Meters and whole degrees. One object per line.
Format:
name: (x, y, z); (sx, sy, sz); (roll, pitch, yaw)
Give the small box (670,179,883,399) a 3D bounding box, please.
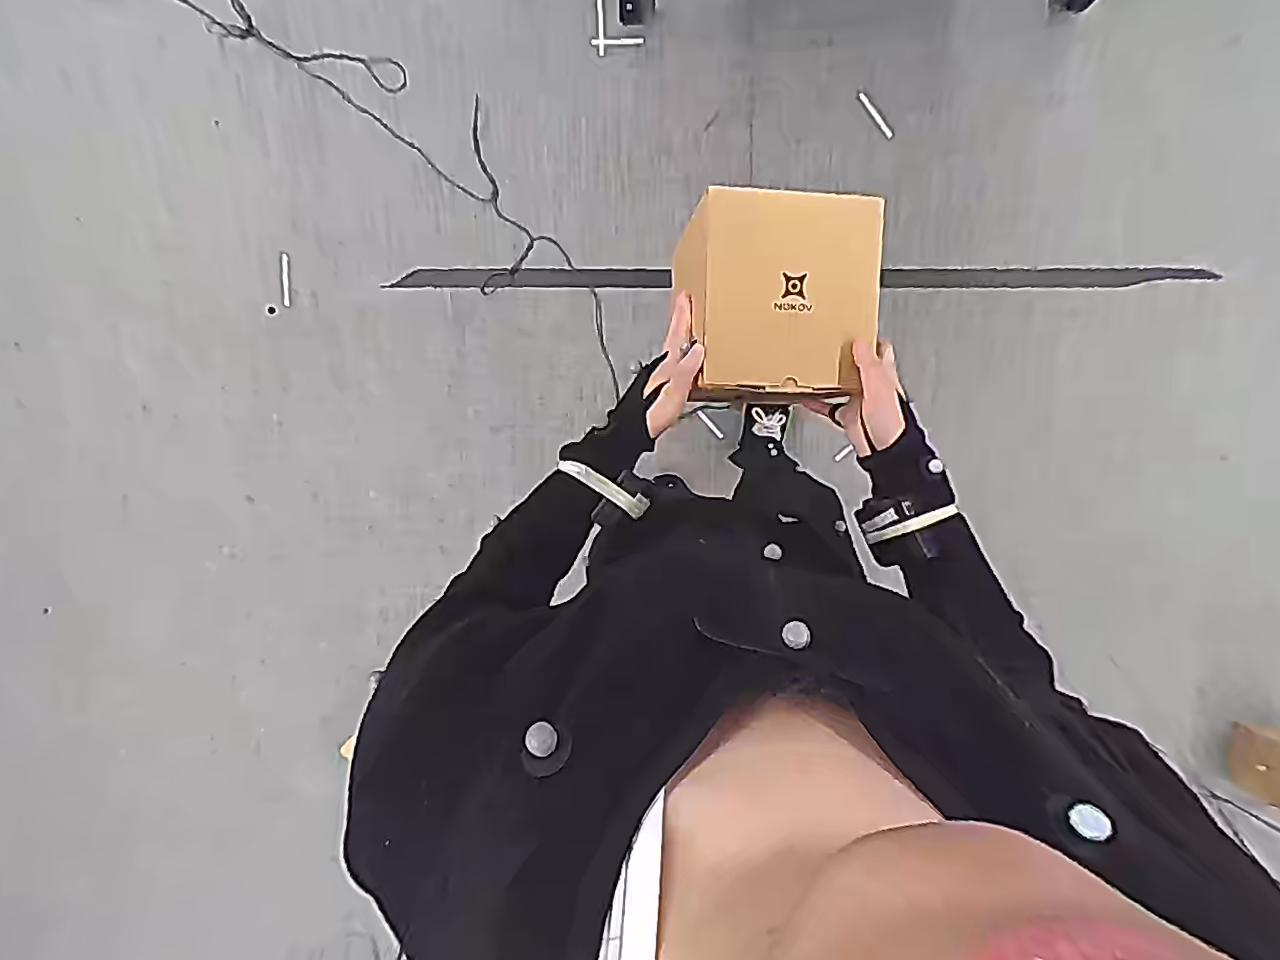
small box: (0.127, -0.181, 0.565); (0.168, 0.176, 0.179); (1, 95, -7)
